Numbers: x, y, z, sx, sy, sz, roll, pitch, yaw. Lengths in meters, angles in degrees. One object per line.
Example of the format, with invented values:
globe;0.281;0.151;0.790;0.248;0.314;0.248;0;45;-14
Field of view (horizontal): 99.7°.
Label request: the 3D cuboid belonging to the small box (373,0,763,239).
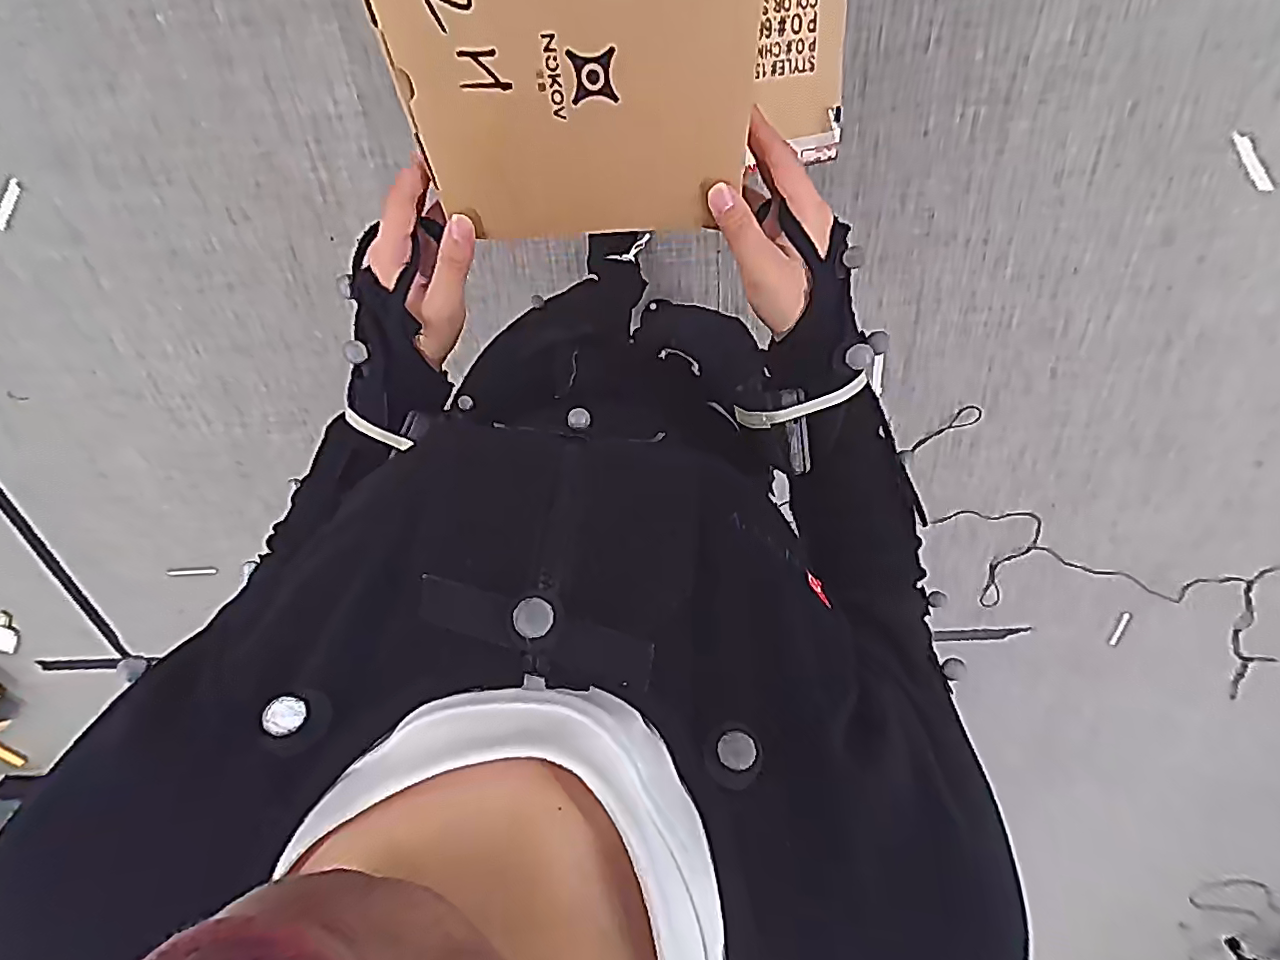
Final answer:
small box;-0.034;-0.265;0.309;0.179;0.176;0.168;-3;147;1
